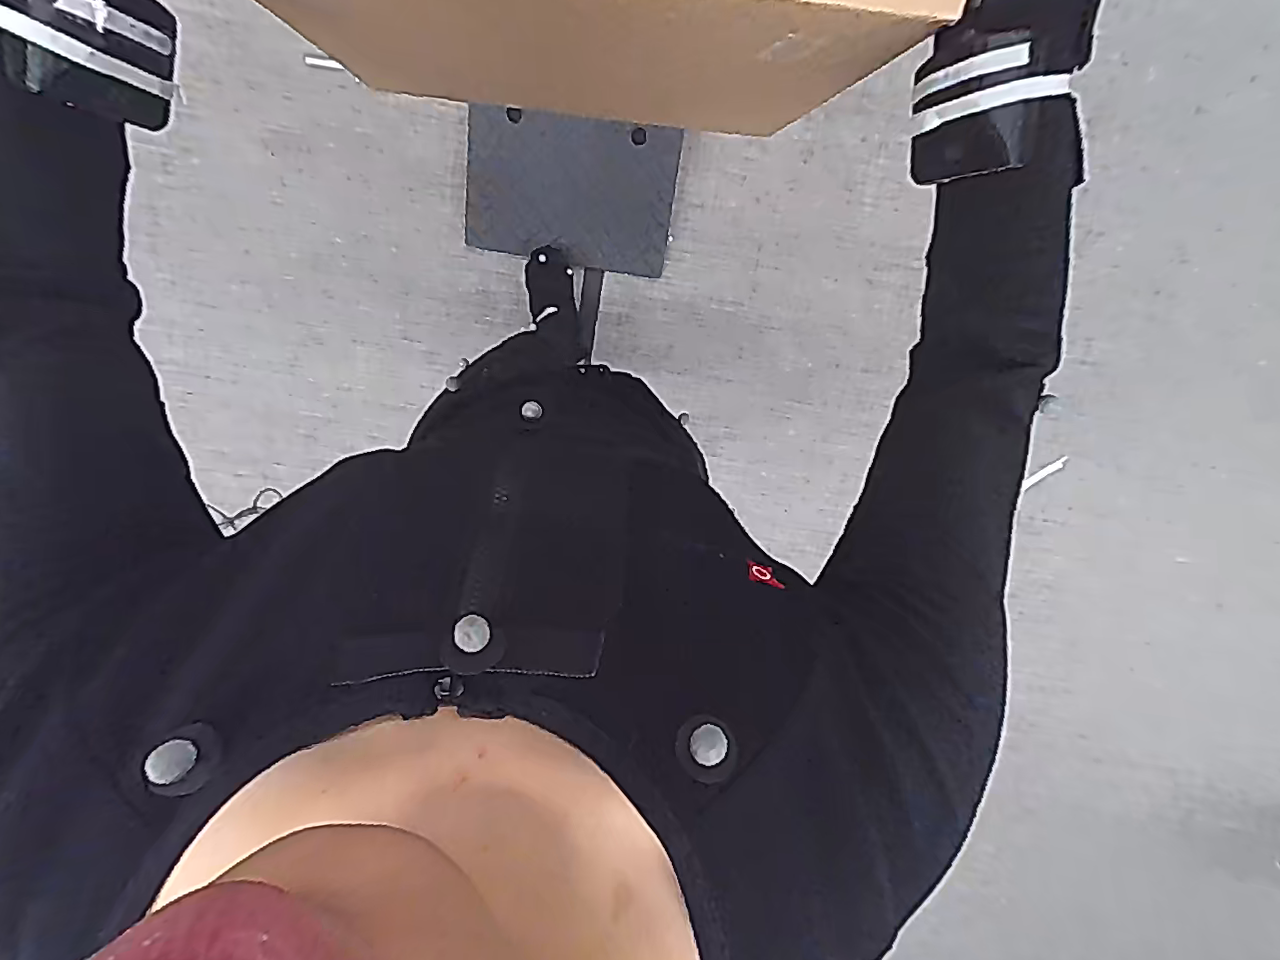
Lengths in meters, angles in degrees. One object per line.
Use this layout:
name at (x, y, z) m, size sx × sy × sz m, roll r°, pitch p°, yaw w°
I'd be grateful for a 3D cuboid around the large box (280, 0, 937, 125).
large box at (-0.036, -0.460, 0.355) m, size 0.408 × 0.320 × 0.320 m, roll 1°, pitch 113°, yaw -7°

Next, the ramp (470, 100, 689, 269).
ramp at (-0.103, -1.013, 1.155) m, size 0.509 × 0.206 × 0.991 m, roll 6°, pitch 104°, yaw -4°
